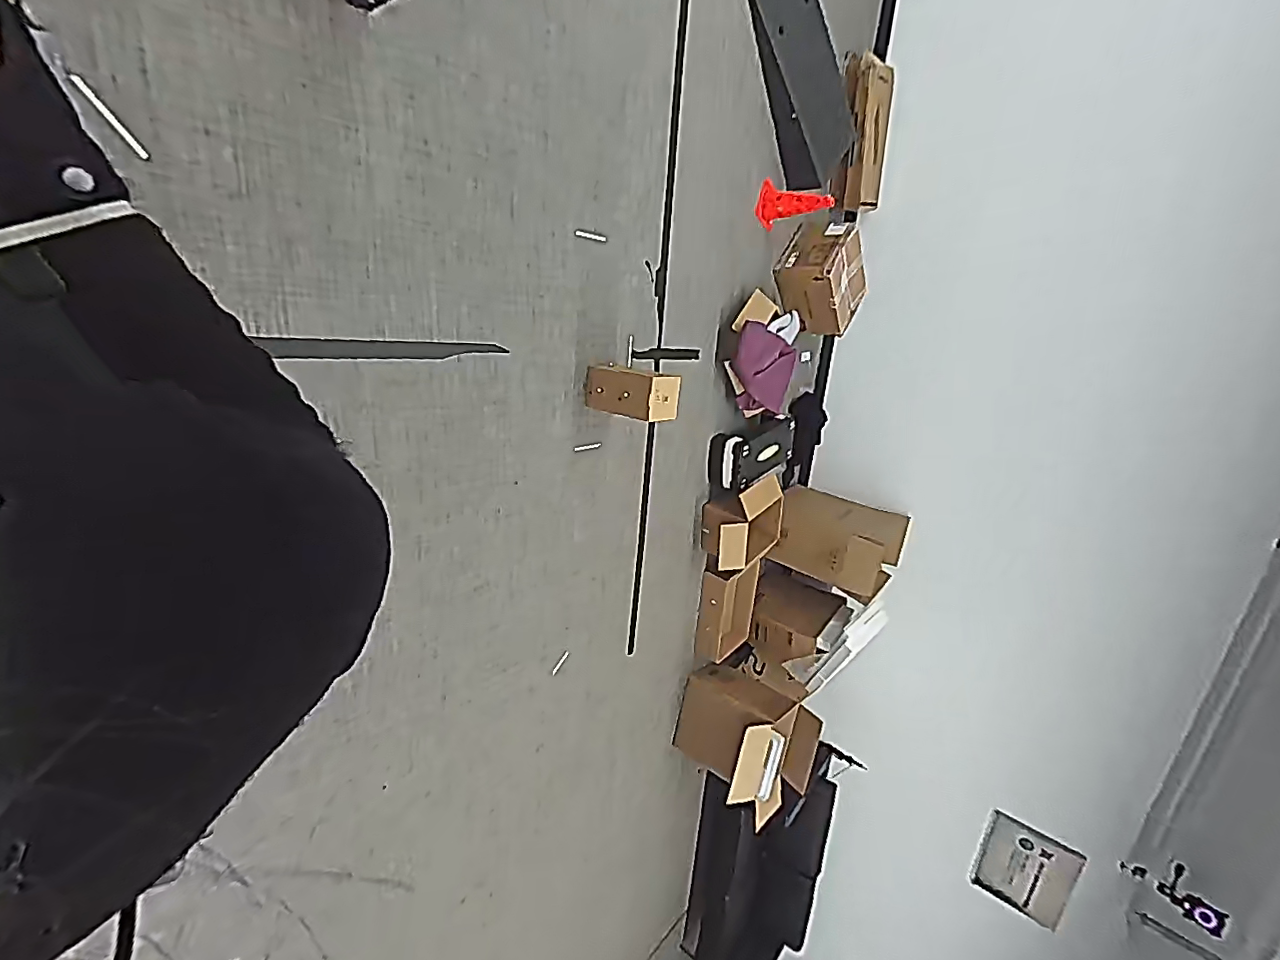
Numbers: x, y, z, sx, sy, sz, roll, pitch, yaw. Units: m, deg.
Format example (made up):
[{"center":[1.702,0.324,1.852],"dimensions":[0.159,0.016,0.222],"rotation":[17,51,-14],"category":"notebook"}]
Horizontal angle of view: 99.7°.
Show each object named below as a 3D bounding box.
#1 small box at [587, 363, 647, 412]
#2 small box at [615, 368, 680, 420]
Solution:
[{"center":[-0.094,-0.372,2.156],"dimensions":[0.179,0.176,0.168],"rotation":[-16,117,-48],"category":"small box"},{"center":[0.028,-0.331,2.051],"dimensions":[0.179,0.176,0.168],"rotation":[-14,115,-48],"category":"small box"}]
